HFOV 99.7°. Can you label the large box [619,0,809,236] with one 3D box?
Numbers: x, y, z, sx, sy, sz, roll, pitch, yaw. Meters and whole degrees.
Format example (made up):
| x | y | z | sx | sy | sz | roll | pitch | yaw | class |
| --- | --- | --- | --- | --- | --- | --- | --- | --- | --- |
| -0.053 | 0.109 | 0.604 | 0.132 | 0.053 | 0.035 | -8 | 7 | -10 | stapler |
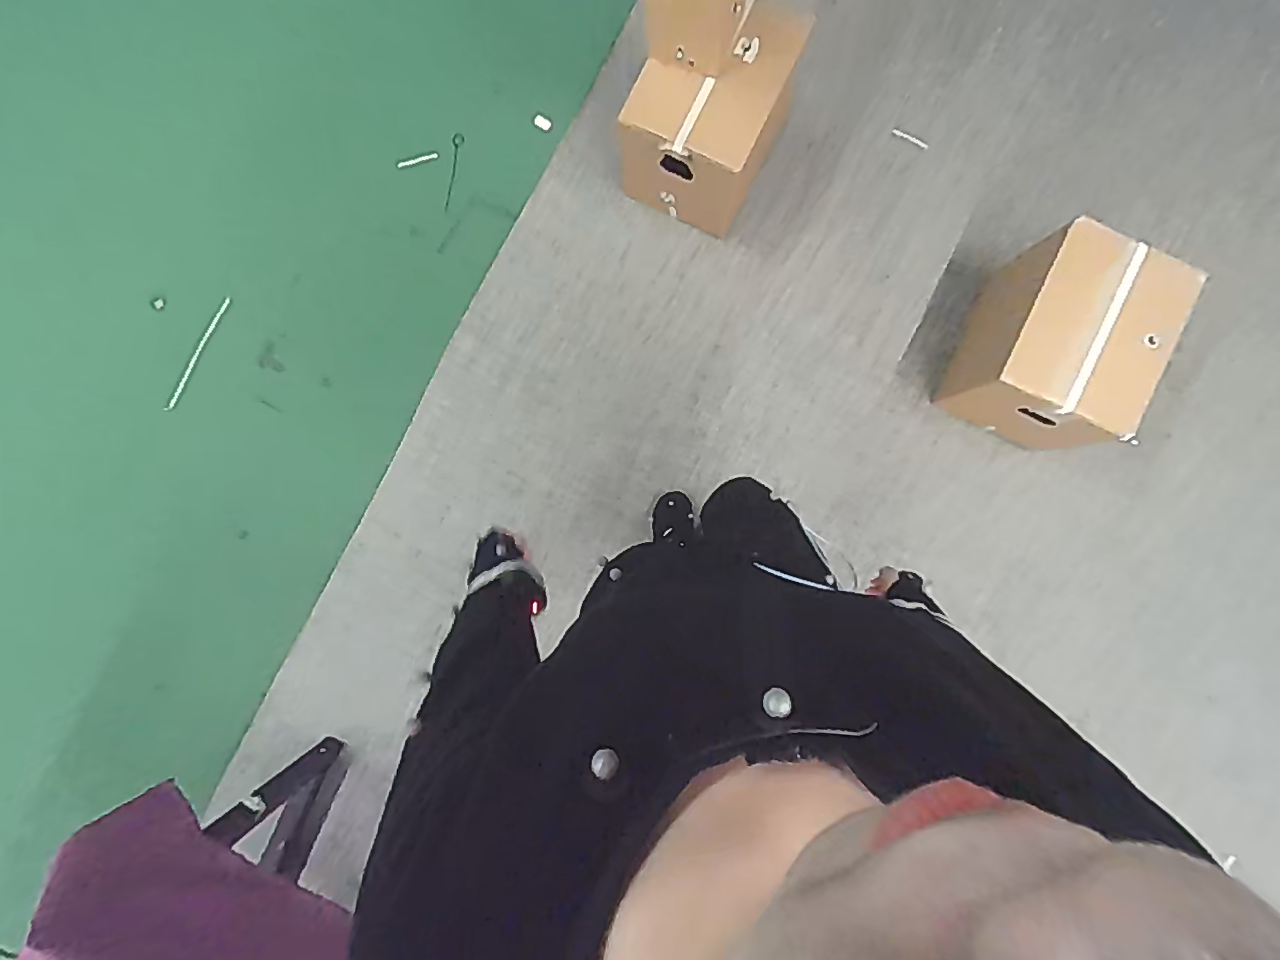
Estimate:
| x | y | z | sx | sy | sz | roll | pitch | yaw | class |
| --- | --- | --- | --- | --- | --- | --- | --- | --- | --- |
| 0.178 | -0.934 | 1.396 | 0.320 | 0.320 | 0.408 | 27 | 88 | 4 | large box |
